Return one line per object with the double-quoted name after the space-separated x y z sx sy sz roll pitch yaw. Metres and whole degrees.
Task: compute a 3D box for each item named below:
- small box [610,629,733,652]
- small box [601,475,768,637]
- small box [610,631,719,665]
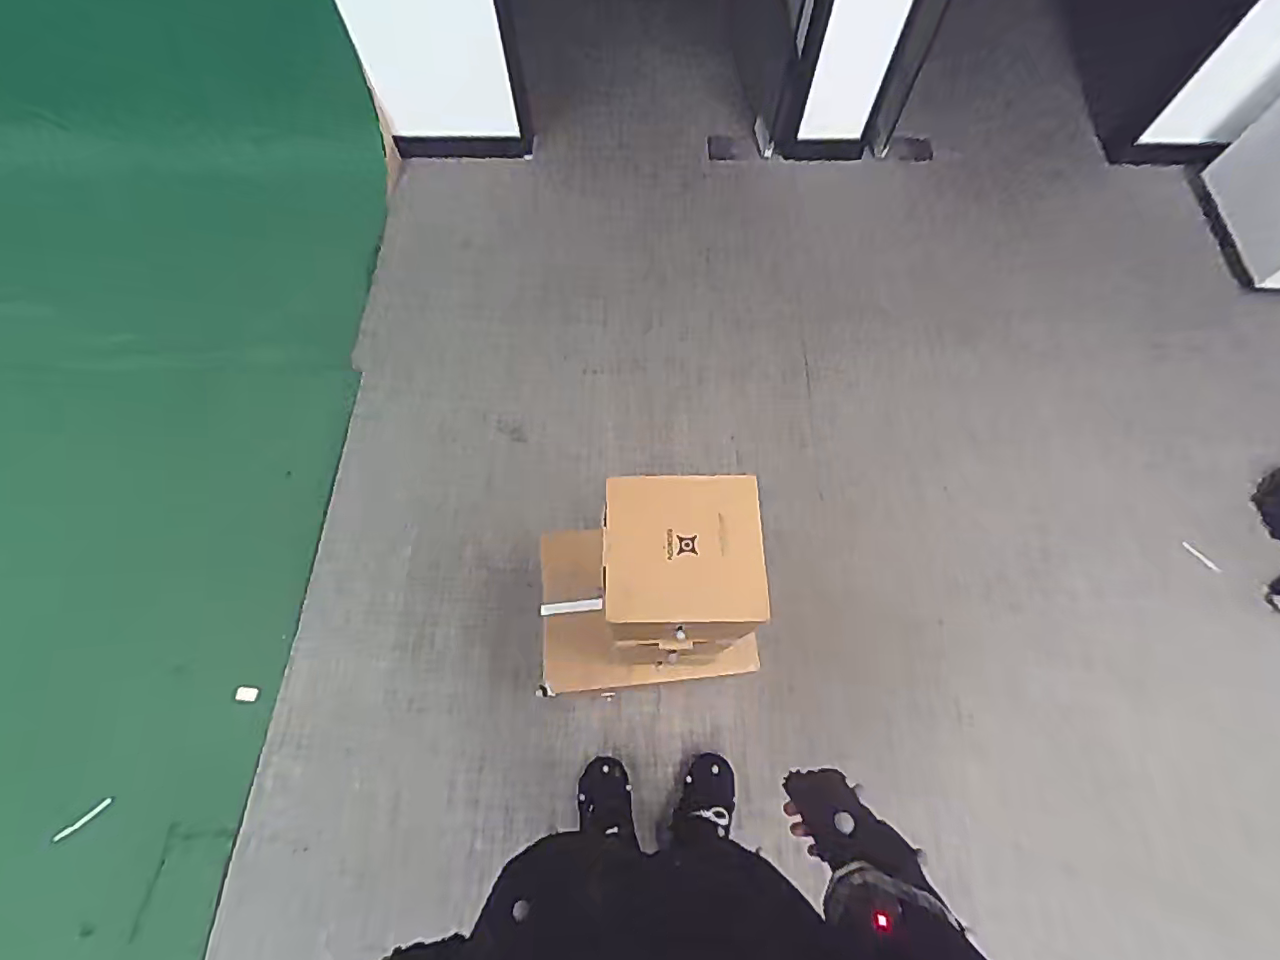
0.041 0.165 0.813 0.168 0.176 0.179 -2 68 -1 "small box"
0.045 0.100 0.664 0.179 0.176 0.168 0 68 -2 "small box"
0.038 0.235 0.960 0.179 0.176 0.168 -1 67 0 "small box"
